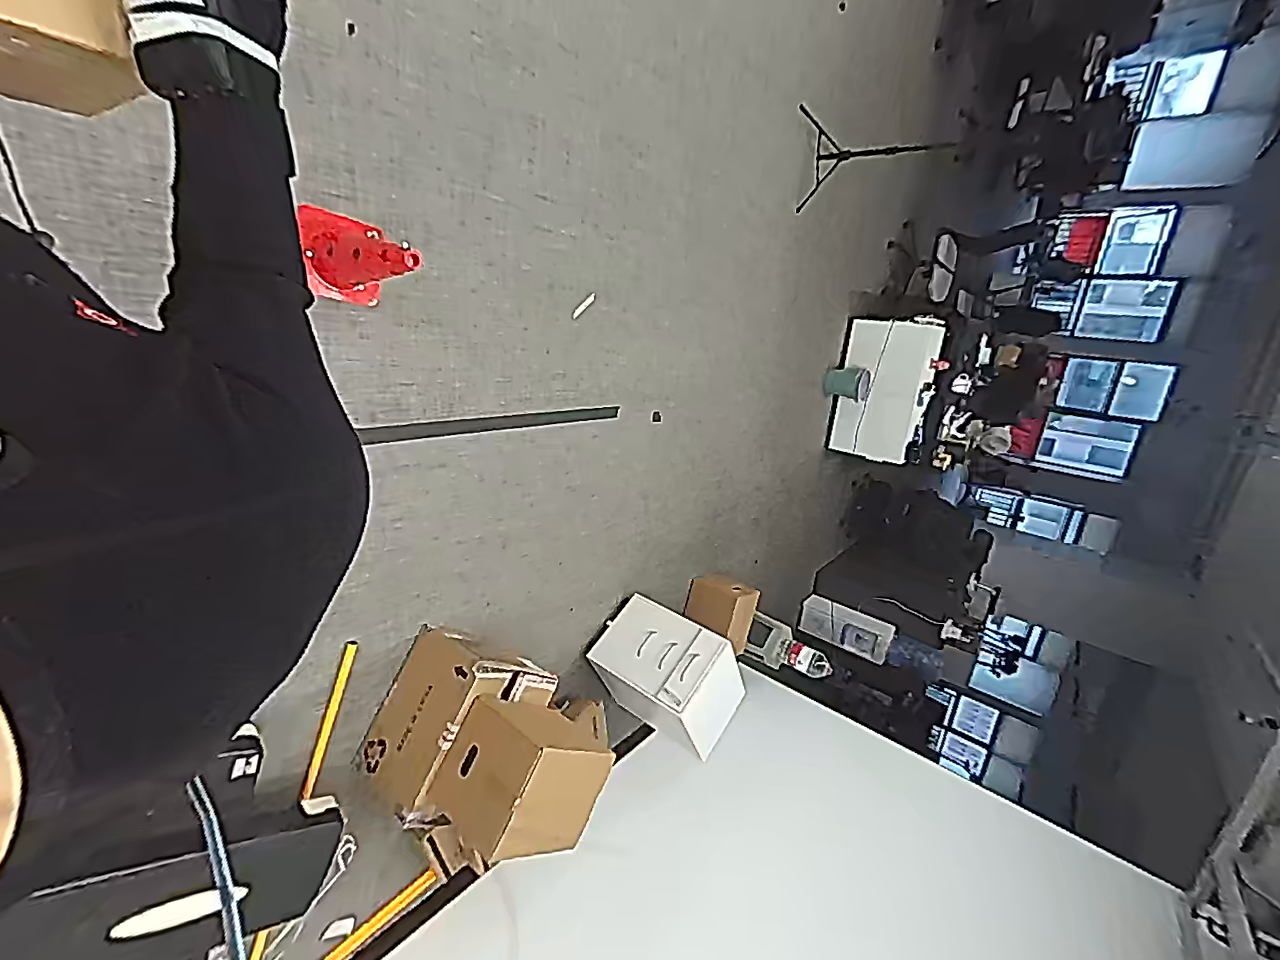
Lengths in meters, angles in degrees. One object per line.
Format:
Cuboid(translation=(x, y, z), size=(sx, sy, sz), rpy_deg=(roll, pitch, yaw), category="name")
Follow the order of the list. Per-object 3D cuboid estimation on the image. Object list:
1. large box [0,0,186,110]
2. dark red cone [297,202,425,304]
Cuboid(translation=(-0.541, -0.437, 0.264), size=(0.408, 0.320, 0.320), rpy_deg=(-16, 120, -51), category="large box")
Cuboid(translation=(-0.601, -0.502, 1.221), size=(0.201, 0.394, 0.202), rpy_deg=(-5, 108, -51), category="dark red cone")
